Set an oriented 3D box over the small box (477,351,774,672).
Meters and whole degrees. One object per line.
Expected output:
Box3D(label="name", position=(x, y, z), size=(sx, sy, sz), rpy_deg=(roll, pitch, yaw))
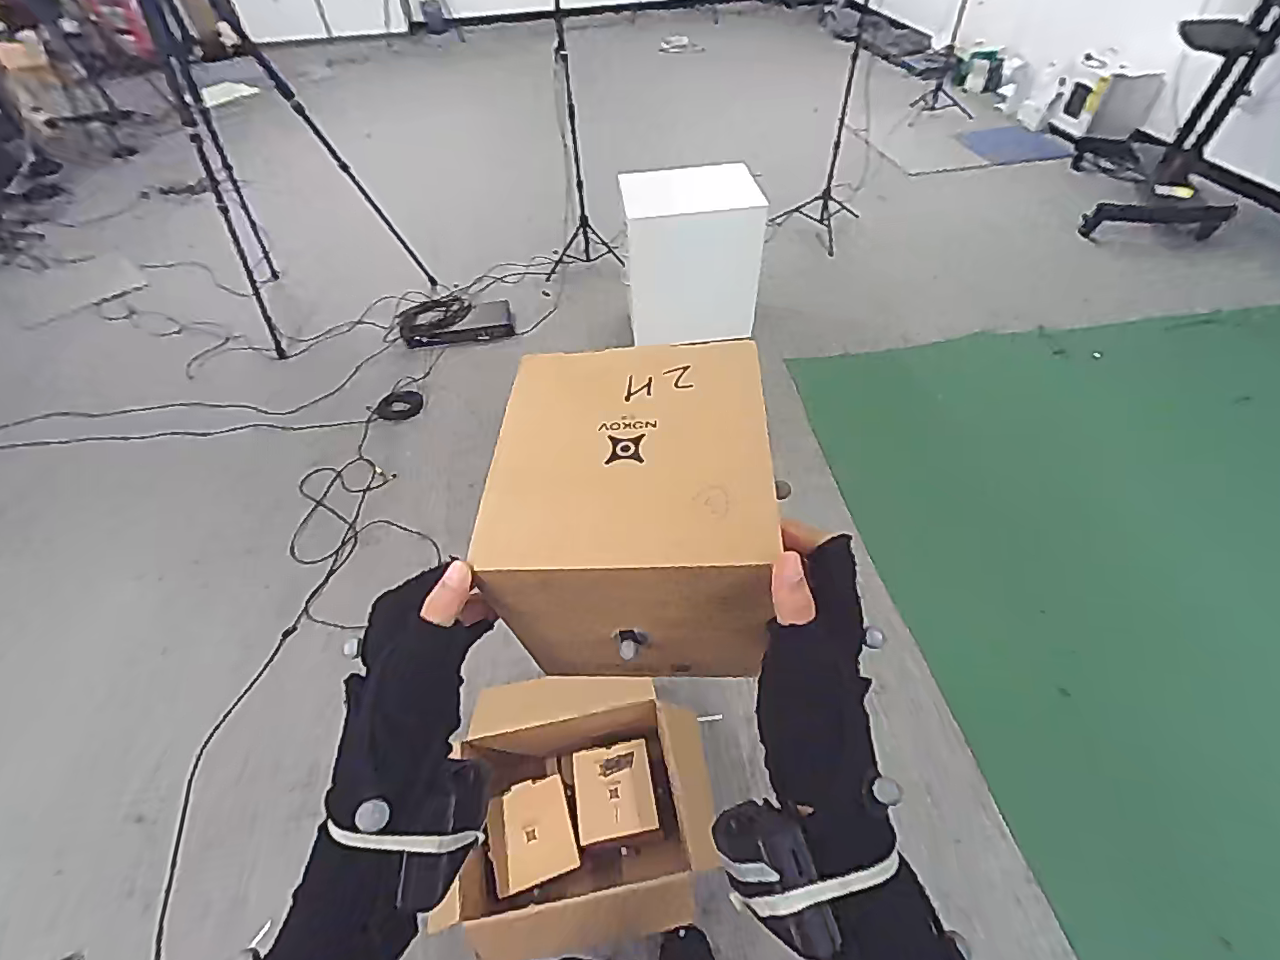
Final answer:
Box3D(label="small box", position=(0.004, 0.030, 0.398), size=(0.168, 0.176, 0.179), rpy_deg=(-2, 51, 7))
